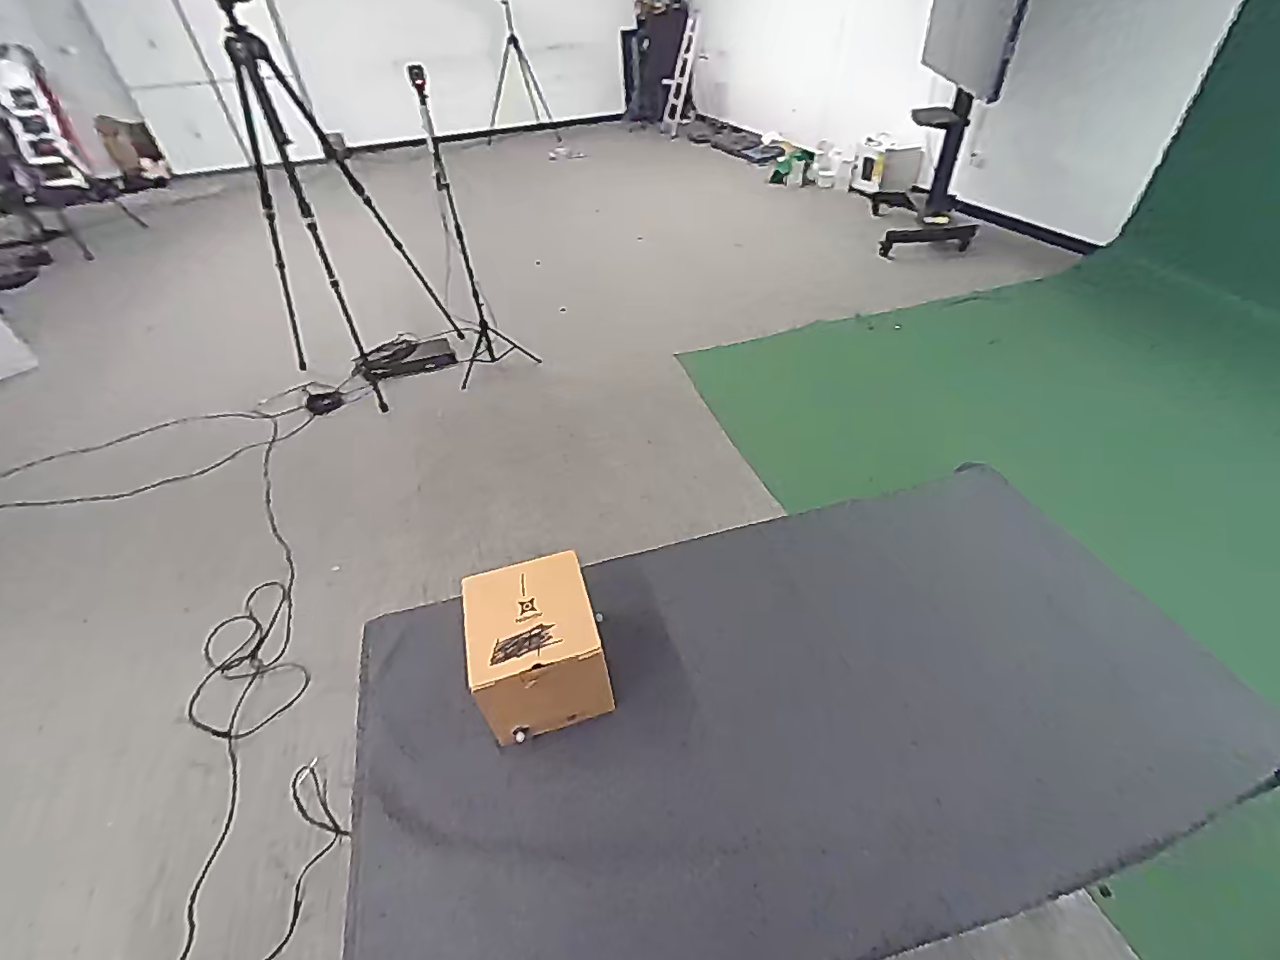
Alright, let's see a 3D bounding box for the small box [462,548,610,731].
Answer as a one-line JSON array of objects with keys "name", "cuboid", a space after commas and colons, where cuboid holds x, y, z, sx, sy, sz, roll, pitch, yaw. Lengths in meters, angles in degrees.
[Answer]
[{"name": "small box", "cuboid": [-0.145, 0.231, 0.770, 0.168, 0.176, 0.179, -14, 43, -11]}]
